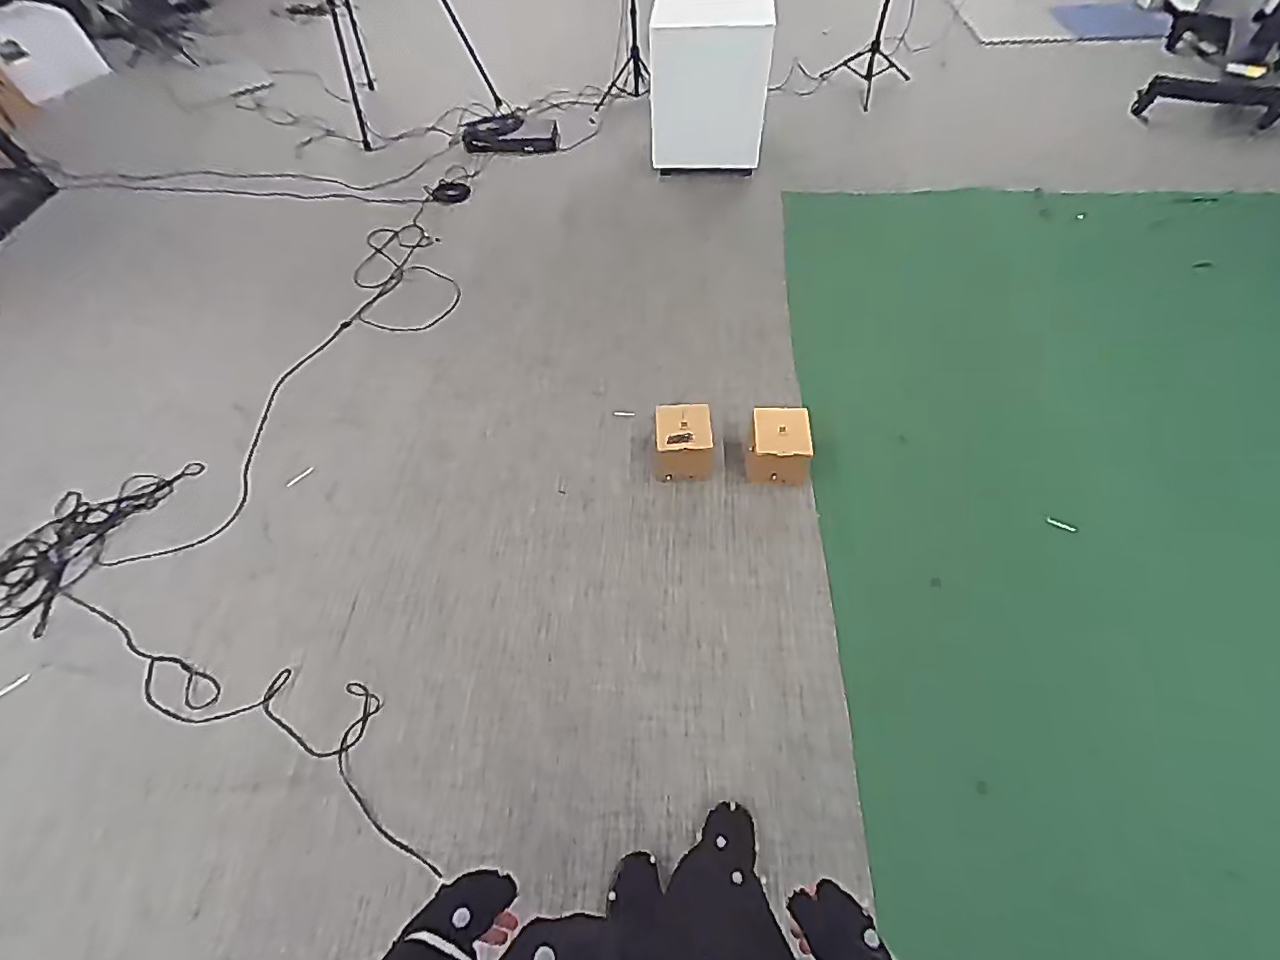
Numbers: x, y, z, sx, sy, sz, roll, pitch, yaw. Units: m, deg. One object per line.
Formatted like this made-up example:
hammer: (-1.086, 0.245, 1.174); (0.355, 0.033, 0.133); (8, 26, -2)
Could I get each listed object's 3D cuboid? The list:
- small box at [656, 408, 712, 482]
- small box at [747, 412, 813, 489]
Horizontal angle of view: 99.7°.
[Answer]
small box: (0.136, -0.103, 1.698); (0.168, 0.176, 0.179); (-2, 56, 1)
small box: (0.428, -0.090, 1.678); (0.168, 0.176, 0.179); (1, 57, 4)
